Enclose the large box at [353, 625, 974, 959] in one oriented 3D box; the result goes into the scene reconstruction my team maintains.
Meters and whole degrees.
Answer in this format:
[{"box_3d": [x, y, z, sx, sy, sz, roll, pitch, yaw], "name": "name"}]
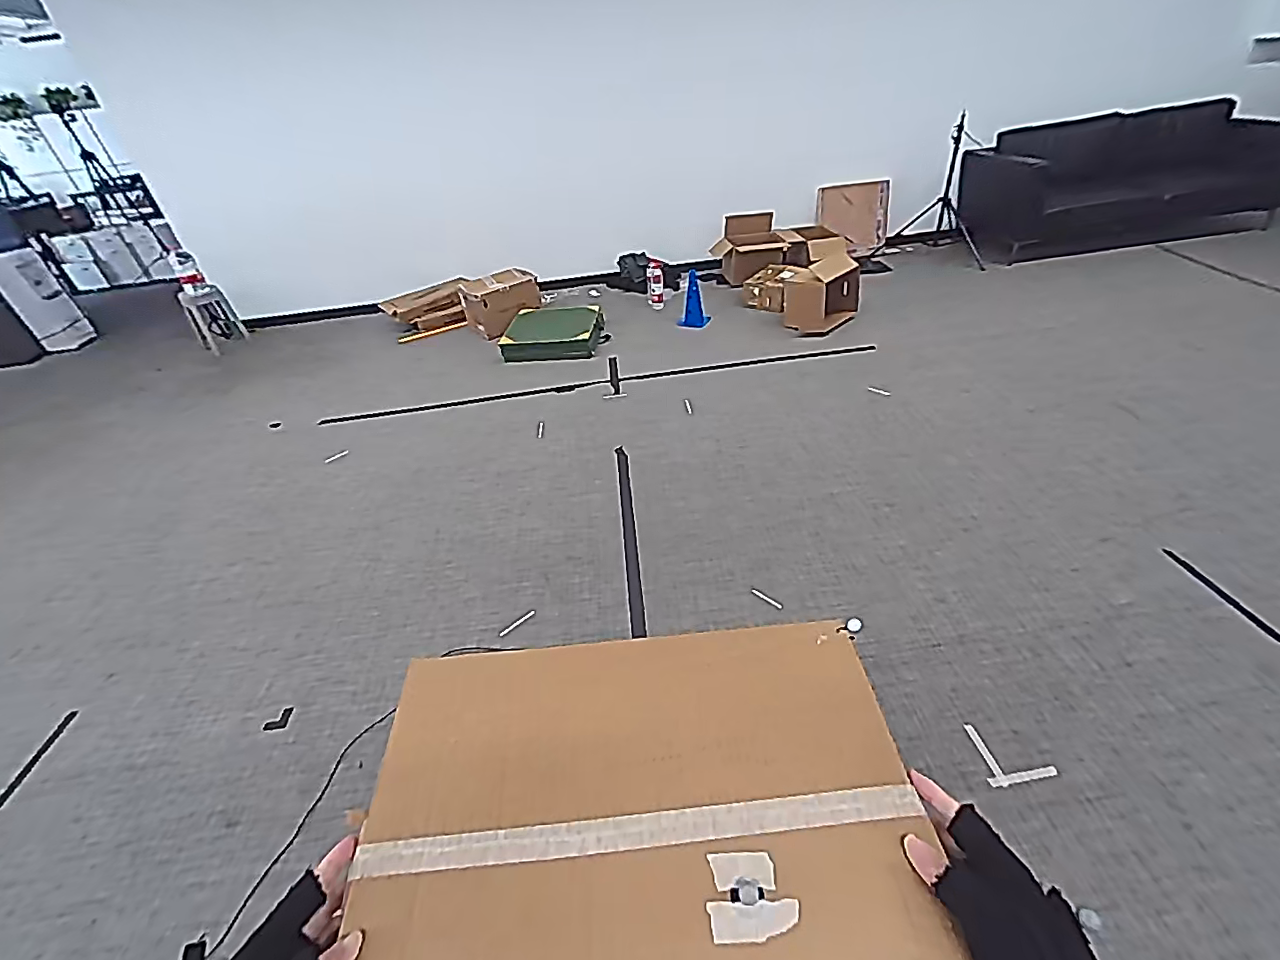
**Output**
[{"box_3d": [0.010, 0.370, 0.500, 0.408, 0.320, 0.320, -5, 42, -2], "name": "large box"}]
